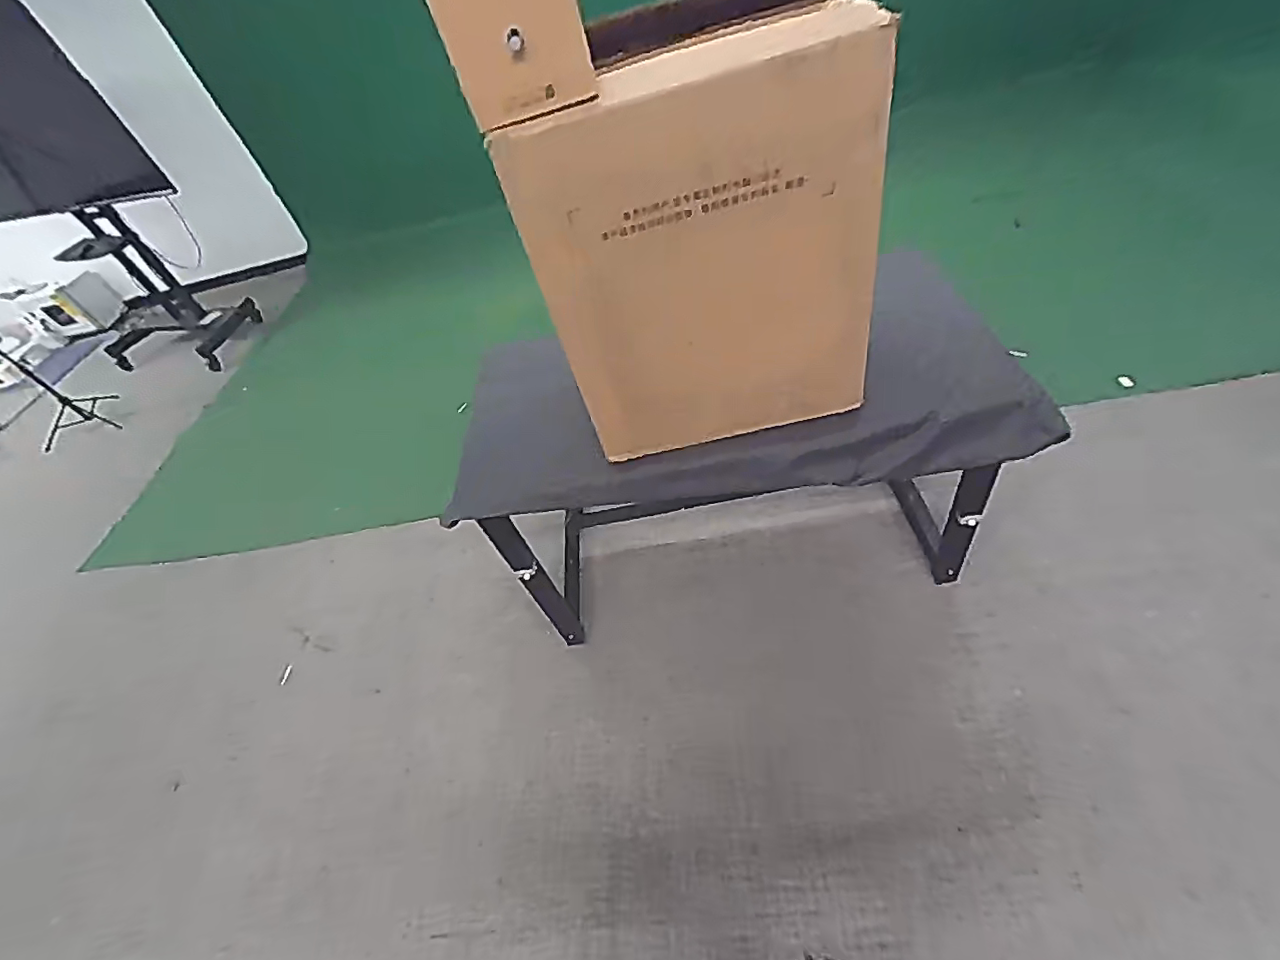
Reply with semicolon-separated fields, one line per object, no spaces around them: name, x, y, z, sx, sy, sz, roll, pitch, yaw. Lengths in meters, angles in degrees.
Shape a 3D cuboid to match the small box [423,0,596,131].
small box;-0.159;-0.582;0.699;0.168;0.176;0.179;-14;47;6
